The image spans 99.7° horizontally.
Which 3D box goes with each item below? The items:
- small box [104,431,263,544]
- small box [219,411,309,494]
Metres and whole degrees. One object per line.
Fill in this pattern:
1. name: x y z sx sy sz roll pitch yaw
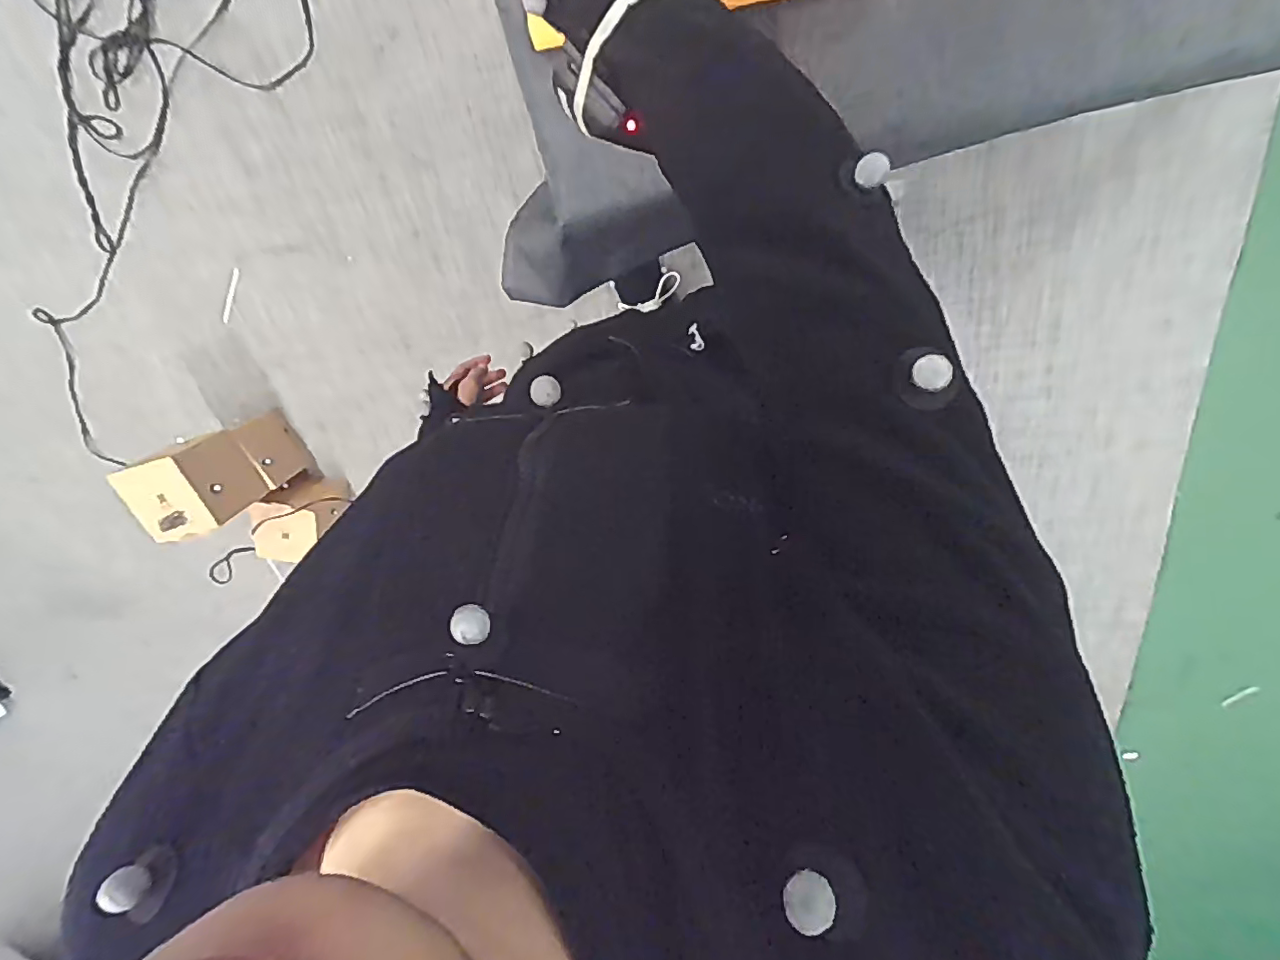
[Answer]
1. small box: -1.003 0.013 1.209 0.168 0.176 0.179 -14 114 9
2. small box: -0.990 -0.053 1.360 0.179 0.176 0.168 -18 113 11
